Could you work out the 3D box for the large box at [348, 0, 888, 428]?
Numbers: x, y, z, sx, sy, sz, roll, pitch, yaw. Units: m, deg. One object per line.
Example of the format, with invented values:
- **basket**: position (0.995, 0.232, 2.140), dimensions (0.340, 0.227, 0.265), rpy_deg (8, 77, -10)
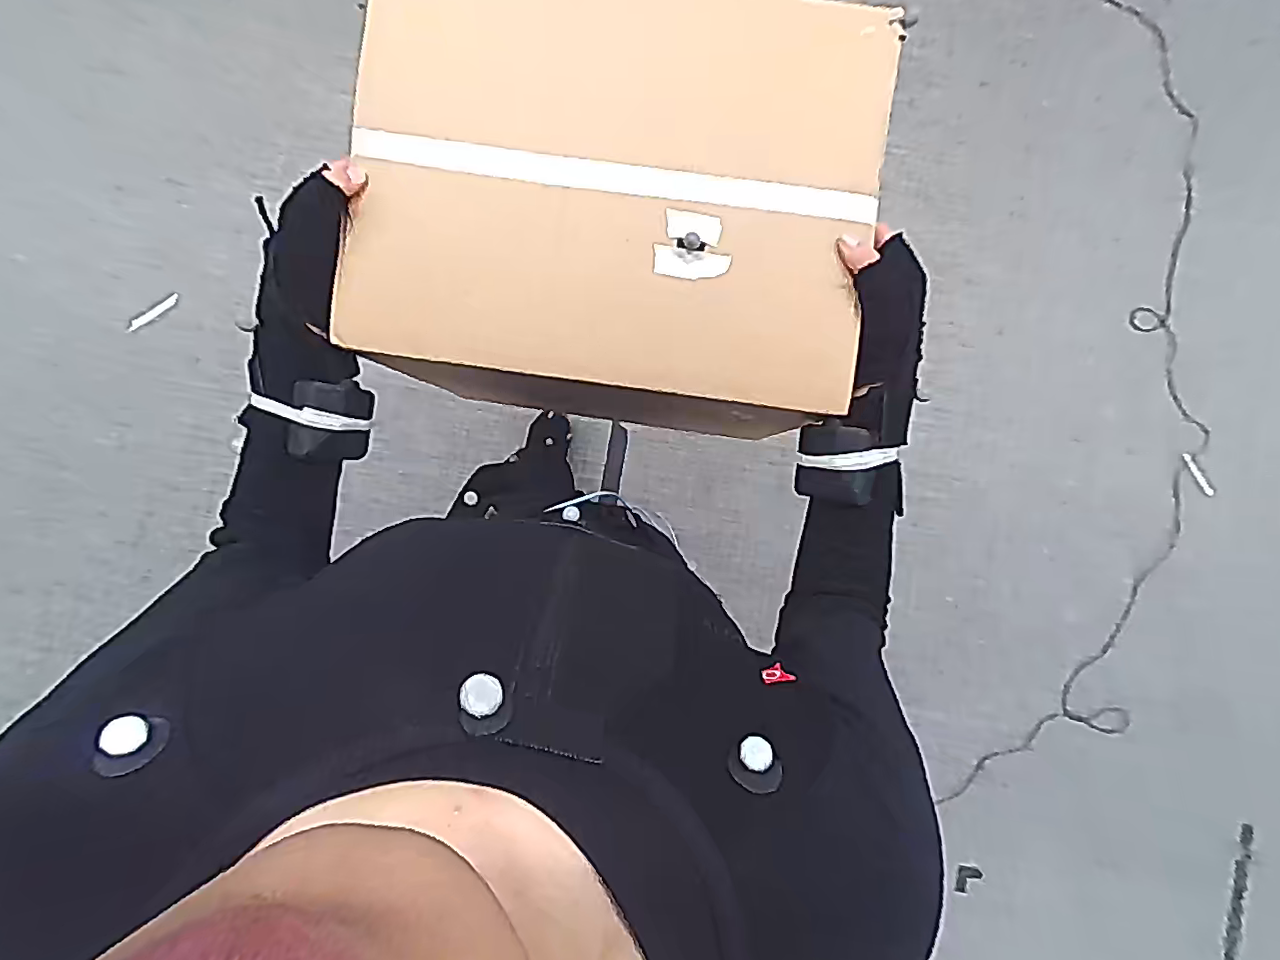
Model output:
- **large box**: position (-0.021, -0.240, 0.575), dimensions (0.408, 0.320, 0.320), rpy_deg (8, 92, -1)
